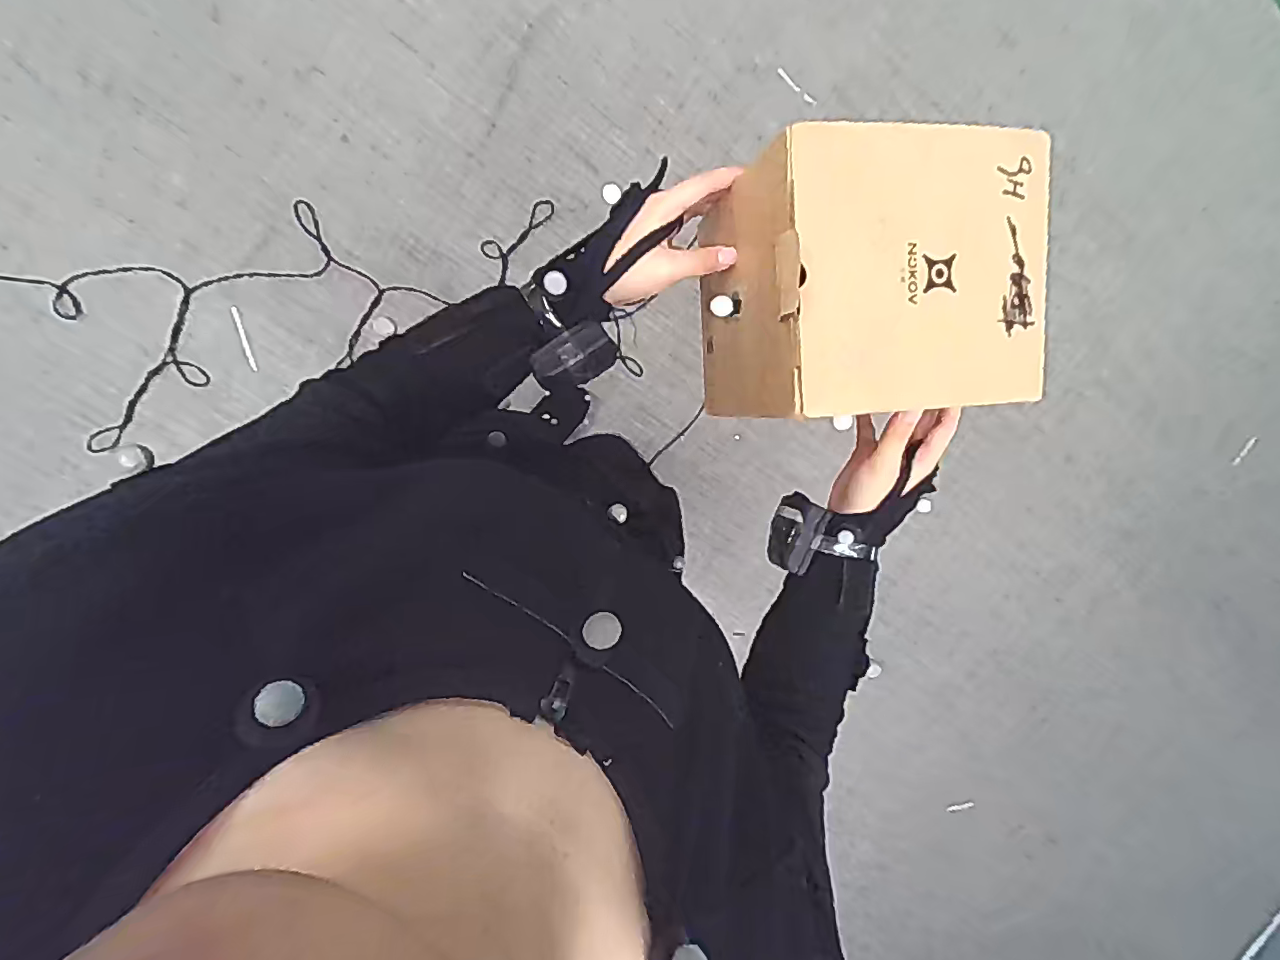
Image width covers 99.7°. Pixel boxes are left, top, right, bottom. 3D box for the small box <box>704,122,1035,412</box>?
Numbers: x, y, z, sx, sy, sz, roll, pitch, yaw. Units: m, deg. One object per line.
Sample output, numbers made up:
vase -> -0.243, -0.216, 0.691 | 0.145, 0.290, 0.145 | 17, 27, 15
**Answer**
small box -> 0.152, -0.139, 0.410 | 0.179, 0.176, 0.168 | -6, 98, -11
